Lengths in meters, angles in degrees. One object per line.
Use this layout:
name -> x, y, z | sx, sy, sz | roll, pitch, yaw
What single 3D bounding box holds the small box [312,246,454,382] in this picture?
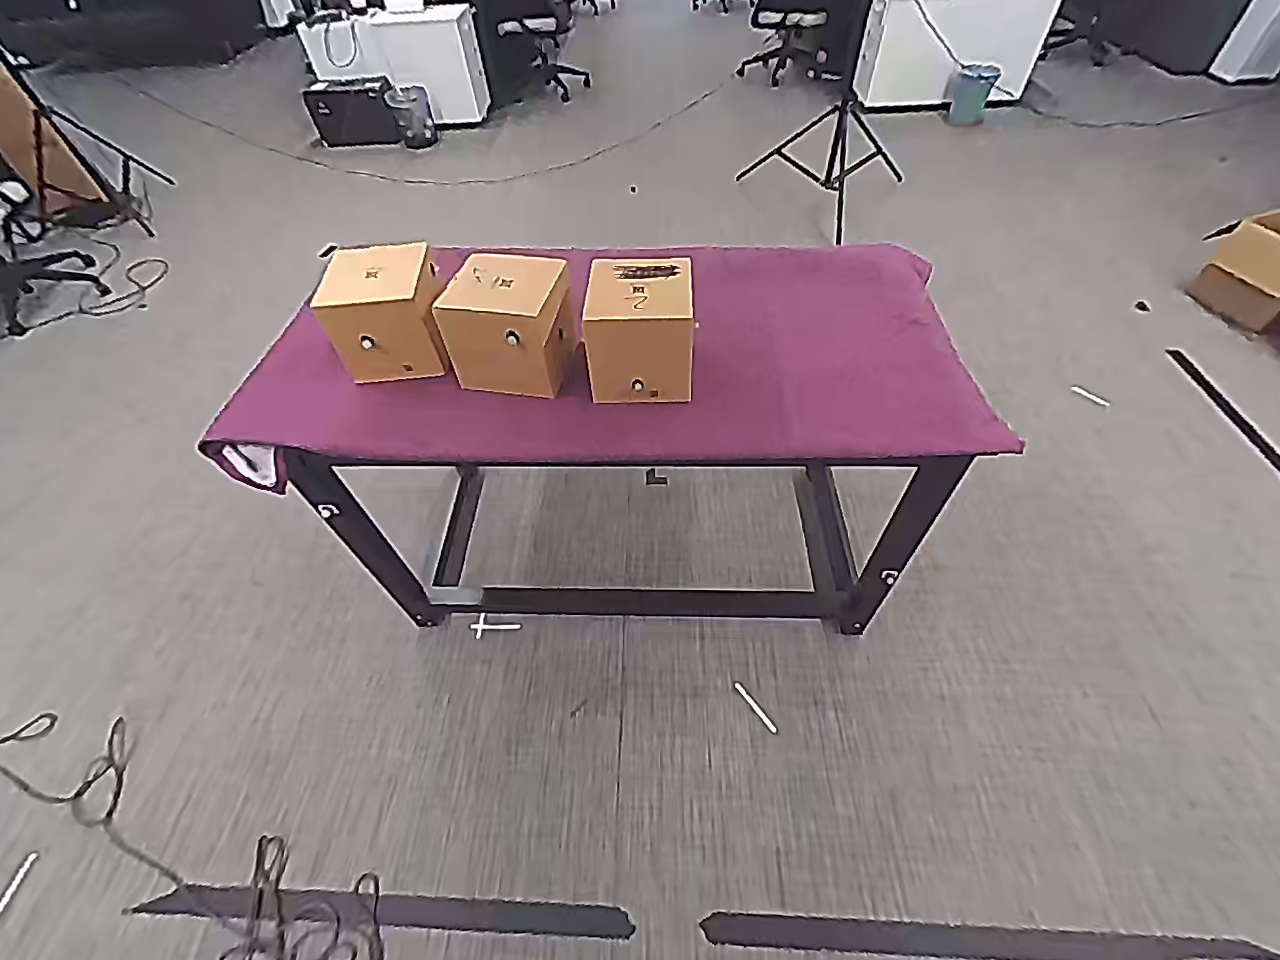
small box -> -0.449, -0.292, 0.977 | 0.168, 0.176, 0.179 | -7, 51, -2
